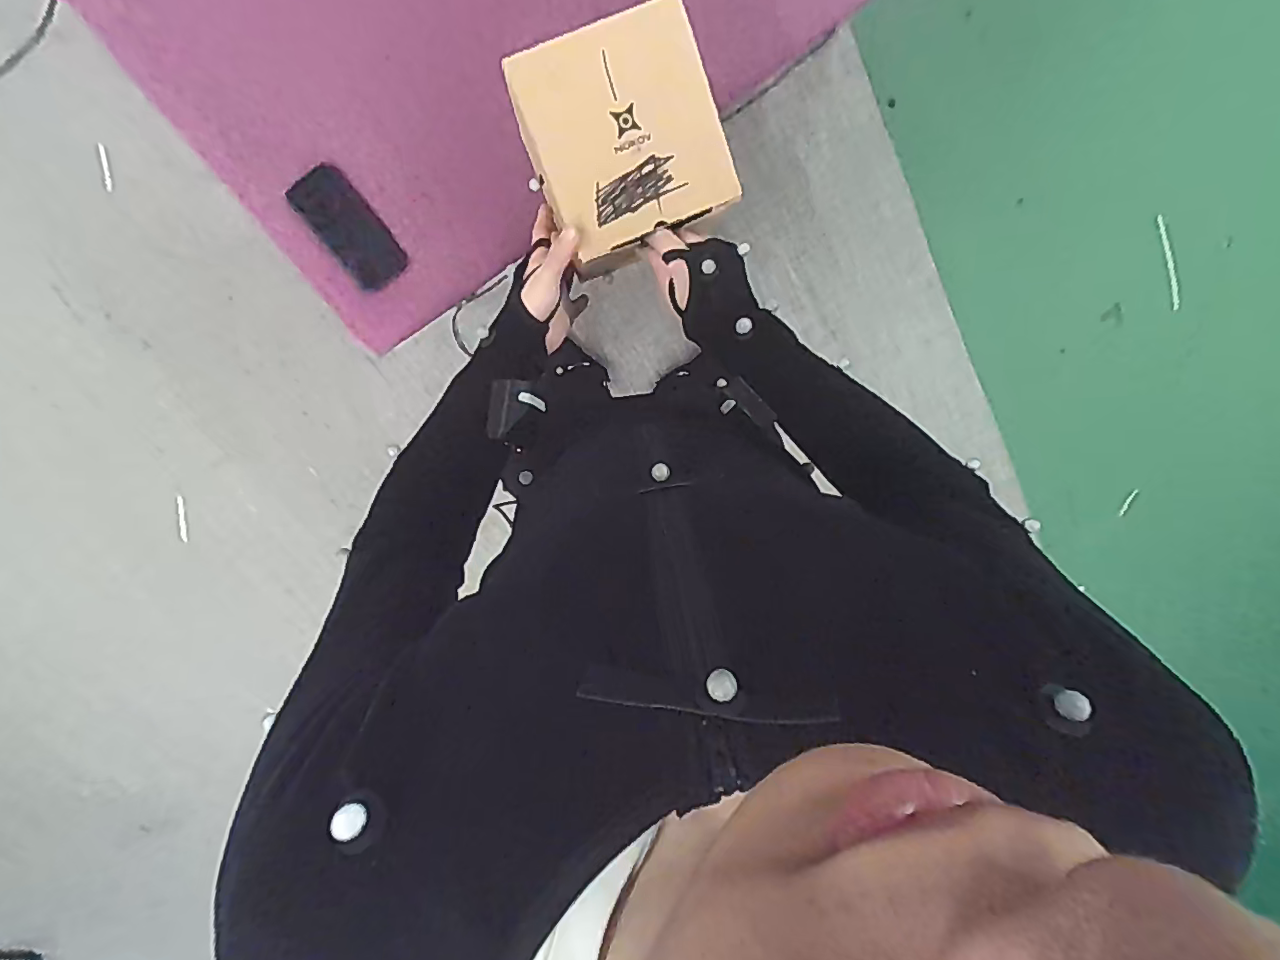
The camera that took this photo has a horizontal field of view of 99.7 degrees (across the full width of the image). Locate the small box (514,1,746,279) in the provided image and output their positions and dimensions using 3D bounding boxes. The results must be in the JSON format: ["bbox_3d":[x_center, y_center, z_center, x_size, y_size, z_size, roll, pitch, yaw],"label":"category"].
[{"bbox_3d":[-0.012,-0.321,0.558,0.168,0.176,0.179,-21,103,-2],"label":"small box"}]
